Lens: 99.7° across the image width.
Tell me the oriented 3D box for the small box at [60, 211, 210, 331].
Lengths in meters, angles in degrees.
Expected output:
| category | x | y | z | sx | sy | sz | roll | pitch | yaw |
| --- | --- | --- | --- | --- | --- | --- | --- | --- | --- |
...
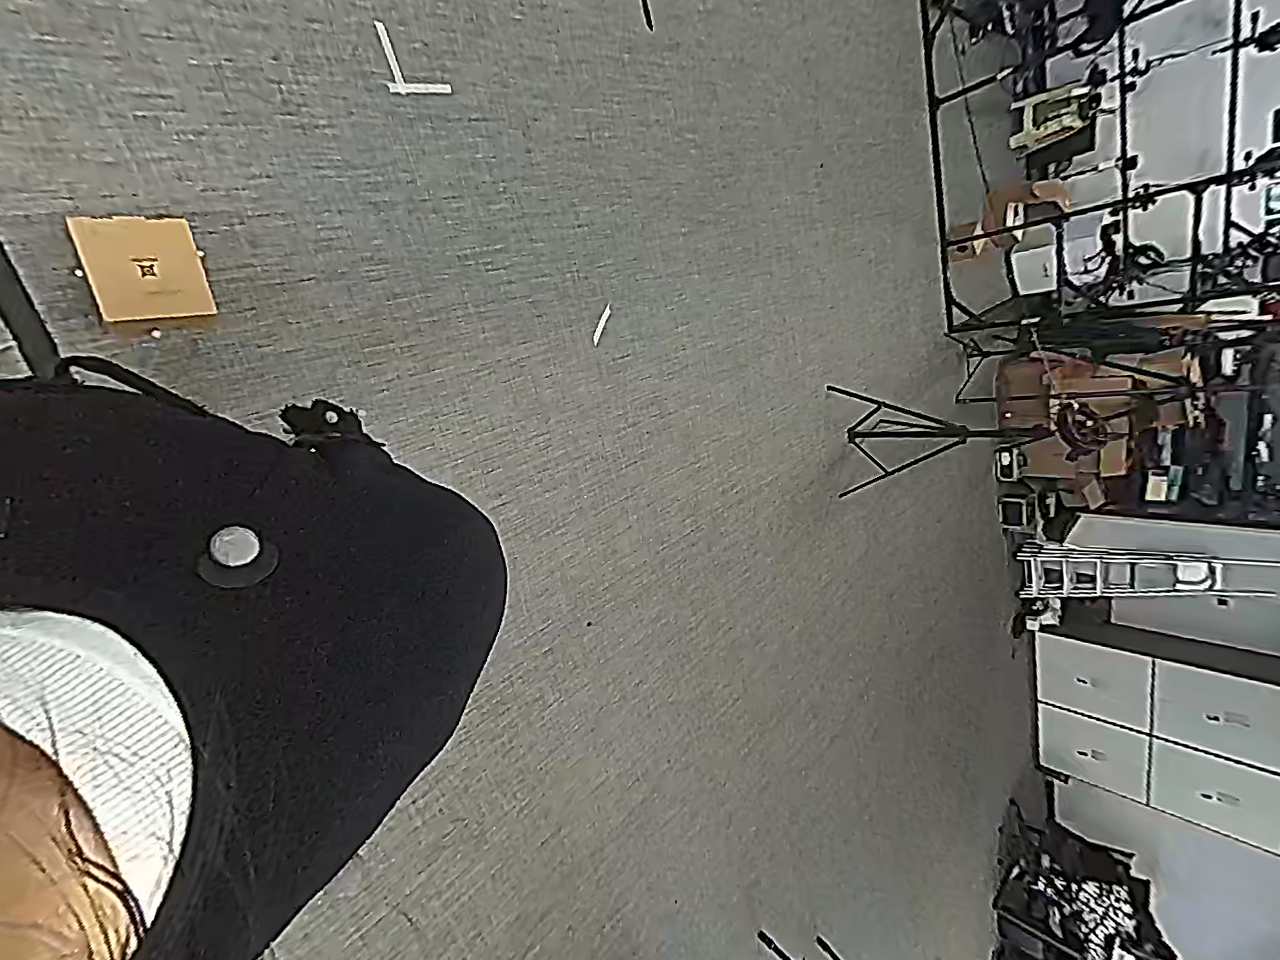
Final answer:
| category | x | y | z | sx | sy | sz | roll | pitch | yaw |
| --- | --- | --- | --- | --- | --- | --- | --- | --- | --- |
| small box | -0.955 | -0.392 | 1.033 | 0.168 | 0.176 | 0.179 | -20 | 106 | -38 |
